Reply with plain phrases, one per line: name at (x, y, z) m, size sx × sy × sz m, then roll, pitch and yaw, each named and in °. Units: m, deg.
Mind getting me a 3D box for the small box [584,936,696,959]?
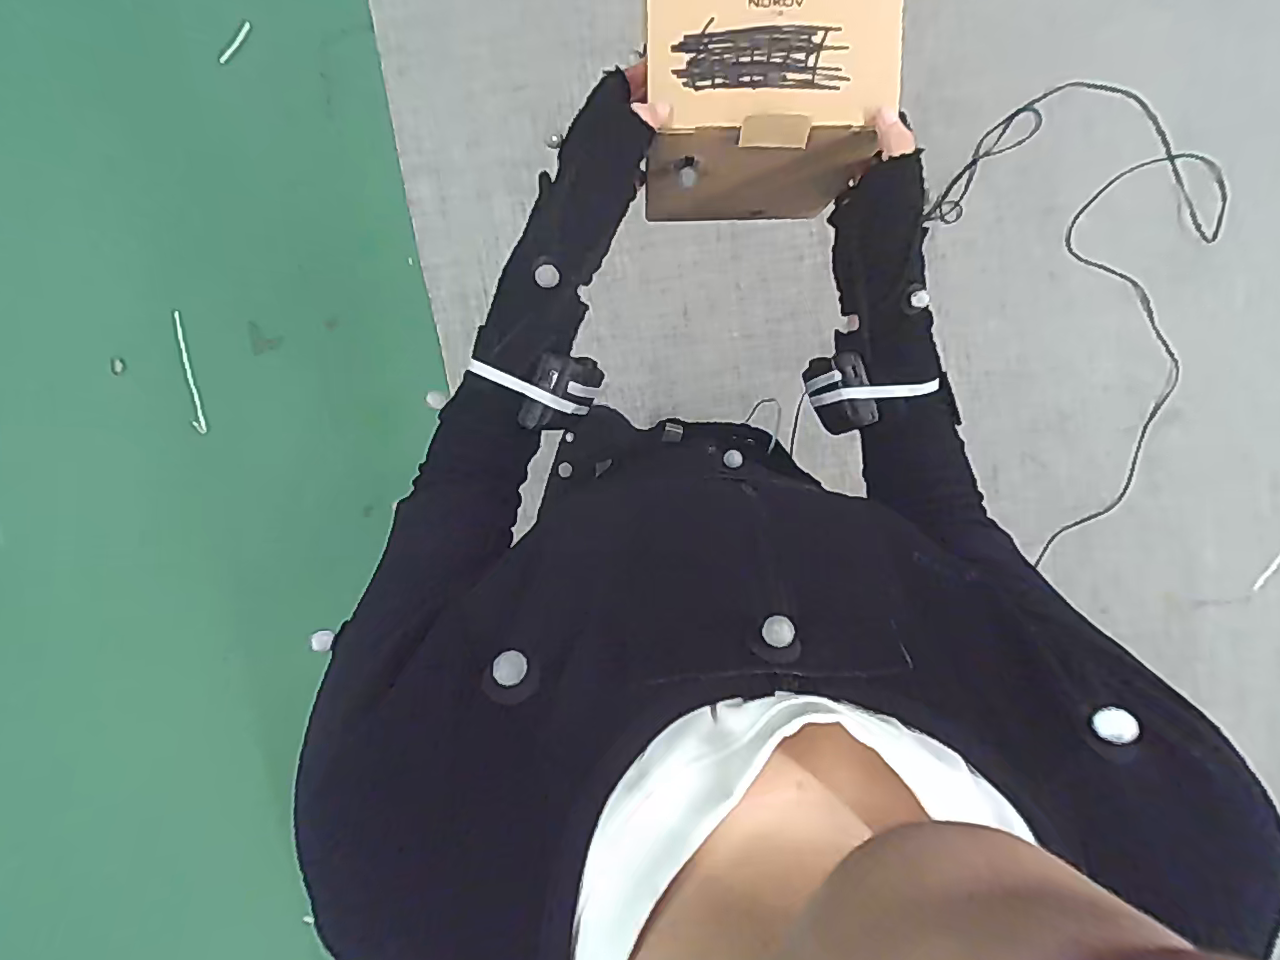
small box at (0.004, 0.771, 0.741) m, size 0.168 × 0.176 × 0.179 m, roll -3°, pitch 97°, yaw 0°
